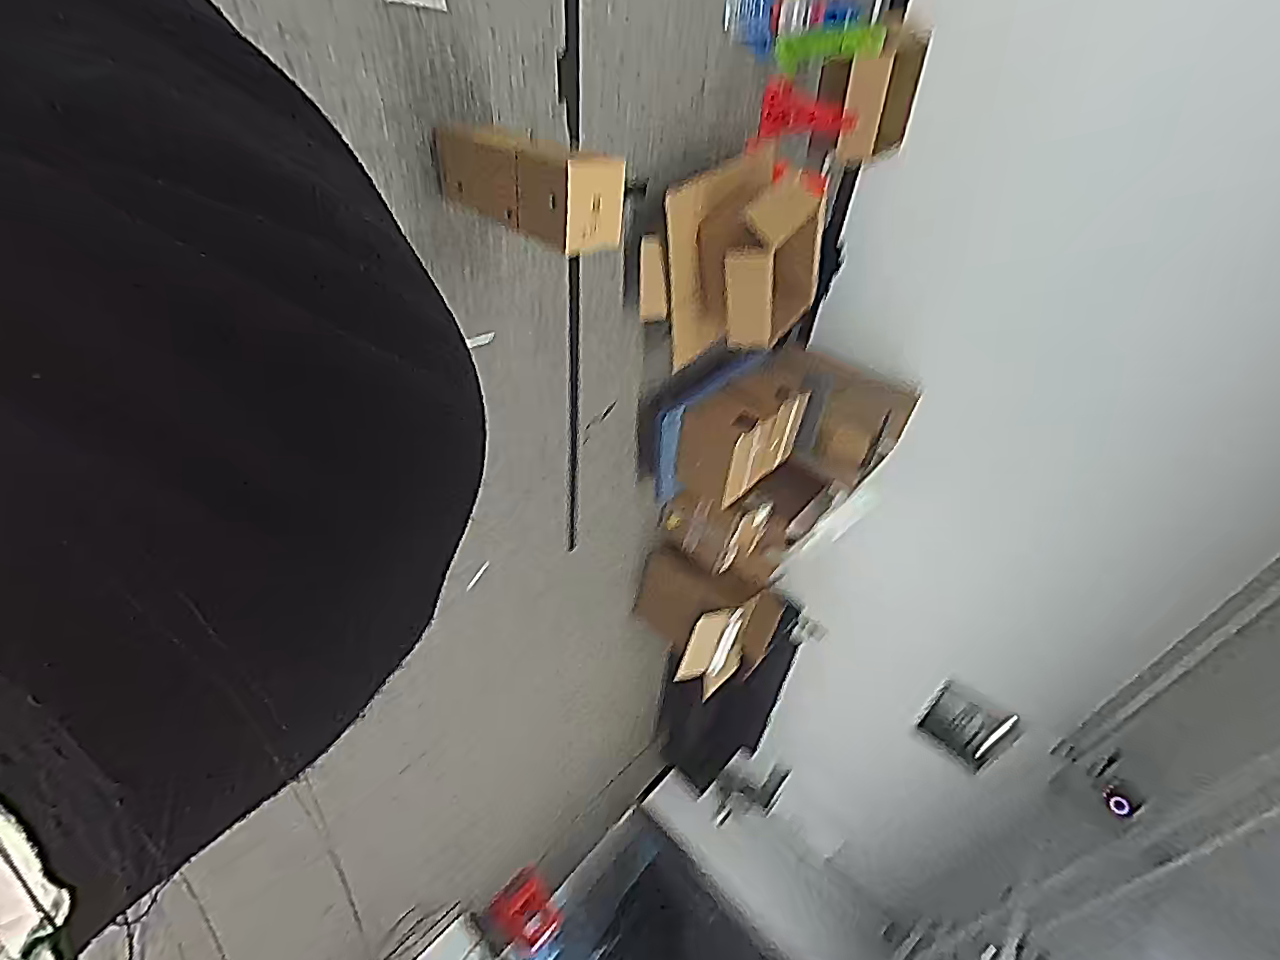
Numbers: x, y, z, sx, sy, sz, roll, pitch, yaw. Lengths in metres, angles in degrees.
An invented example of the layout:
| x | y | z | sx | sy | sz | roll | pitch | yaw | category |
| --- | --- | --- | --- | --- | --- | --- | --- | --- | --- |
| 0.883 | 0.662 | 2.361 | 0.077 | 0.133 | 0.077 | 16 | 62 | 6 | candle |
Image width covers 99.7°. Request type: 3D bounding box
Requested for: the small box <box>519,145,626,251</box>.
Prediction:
| x | y | z | sx | sy | sz | roll | pitch | yaw | category |
| --- | --- | --- | --- | --- | --- | --- | --- | --- | --- |
| -0.153 | -0.628 | 1.194 | 0.168 | 0.176 | 0.179 | -31 | 143 | -37 | small box |

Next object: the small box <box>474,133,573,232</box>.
| x | y | z | sx | sy | sz | roll | pitch | yaw | category |
| --- | --- | --- | --- | --- | --- | --- | --- | --- | --- |
| -0.273 | -0.707 | 1.275 | 0.168 | 0.176 | 0.179 | -31 | 143 | -37 | small box |

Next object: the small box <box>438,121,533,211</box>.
| x | y | z | sx | sy | sz | roll | pitch | yaw | category |
| --- | --- | --- | --- | --- | --- | --- | --- | --- | --- |
| -0.386 | -0.790 | 1.357 | 0.179 | 0.176 | 0.168 | -33 | 144 | -37 | small box |
